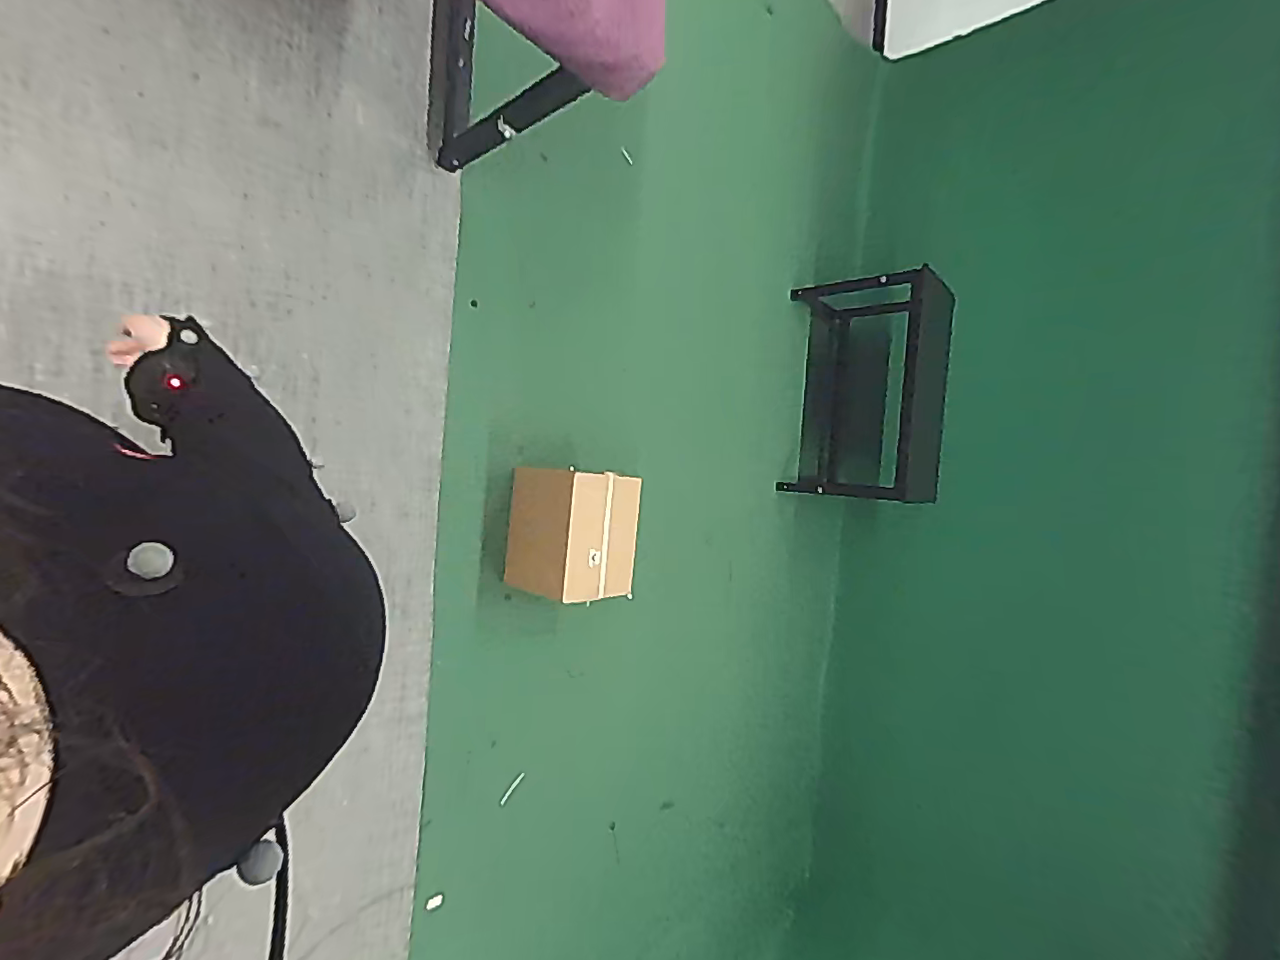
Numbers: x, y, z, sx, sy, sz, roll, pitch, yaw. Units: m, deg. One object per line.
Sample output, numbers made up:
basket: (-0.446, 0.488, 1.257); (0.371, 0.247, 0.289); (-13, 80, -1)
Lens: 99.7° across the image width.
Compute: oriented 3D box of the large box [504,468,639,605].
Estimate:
large box: (-0.231, 0.174, 1.826); (0.320, 0.320, 0.408); (5, 91, -49)
